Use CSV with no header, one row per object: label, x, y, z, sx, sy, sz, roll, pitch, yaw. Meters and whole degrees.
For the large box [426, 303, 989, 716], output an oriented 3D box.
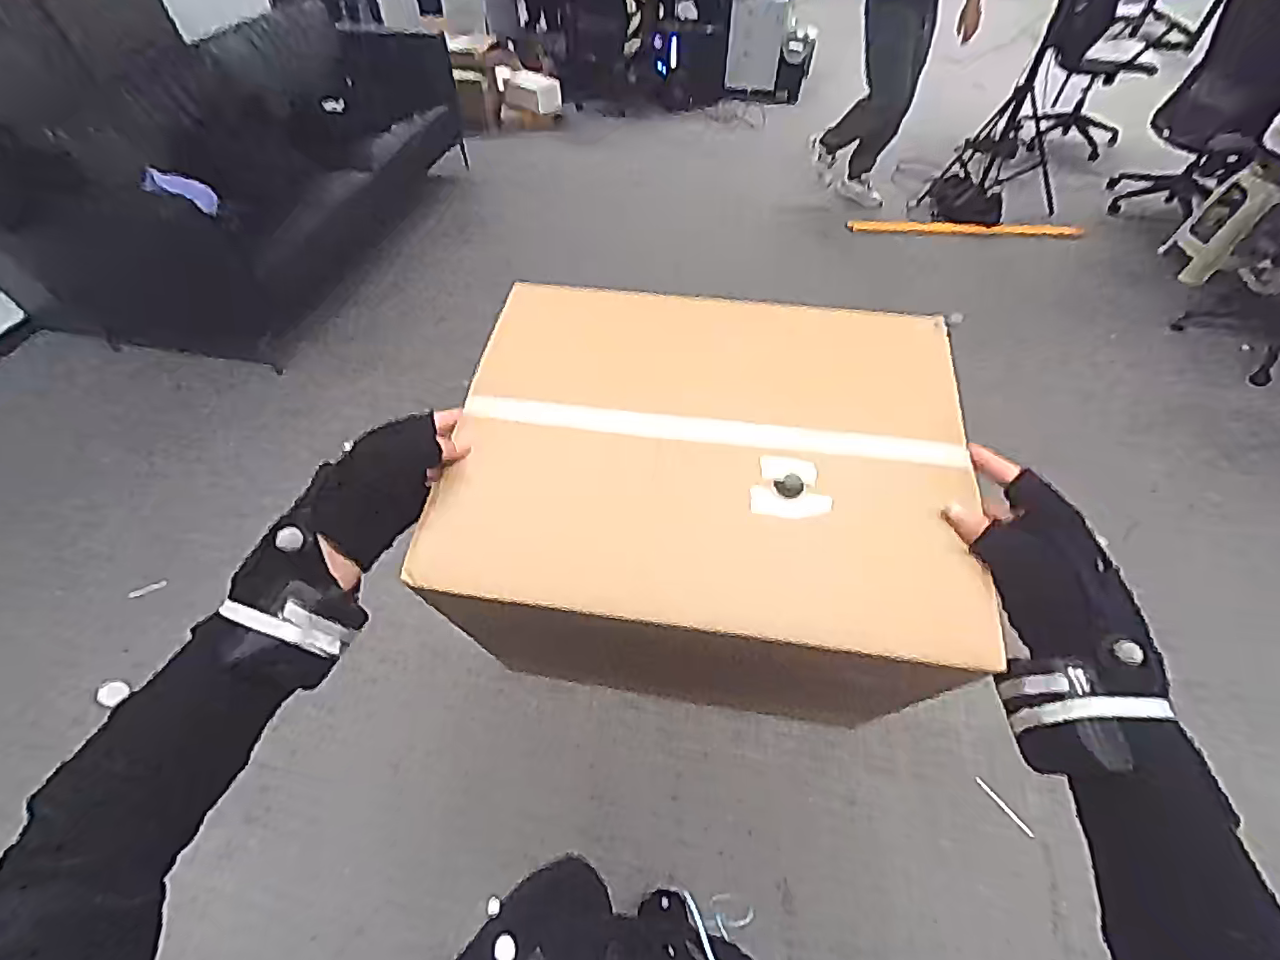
large box,0.061,0.043,0.578,0.408,0.320,0.320,6,61,7
